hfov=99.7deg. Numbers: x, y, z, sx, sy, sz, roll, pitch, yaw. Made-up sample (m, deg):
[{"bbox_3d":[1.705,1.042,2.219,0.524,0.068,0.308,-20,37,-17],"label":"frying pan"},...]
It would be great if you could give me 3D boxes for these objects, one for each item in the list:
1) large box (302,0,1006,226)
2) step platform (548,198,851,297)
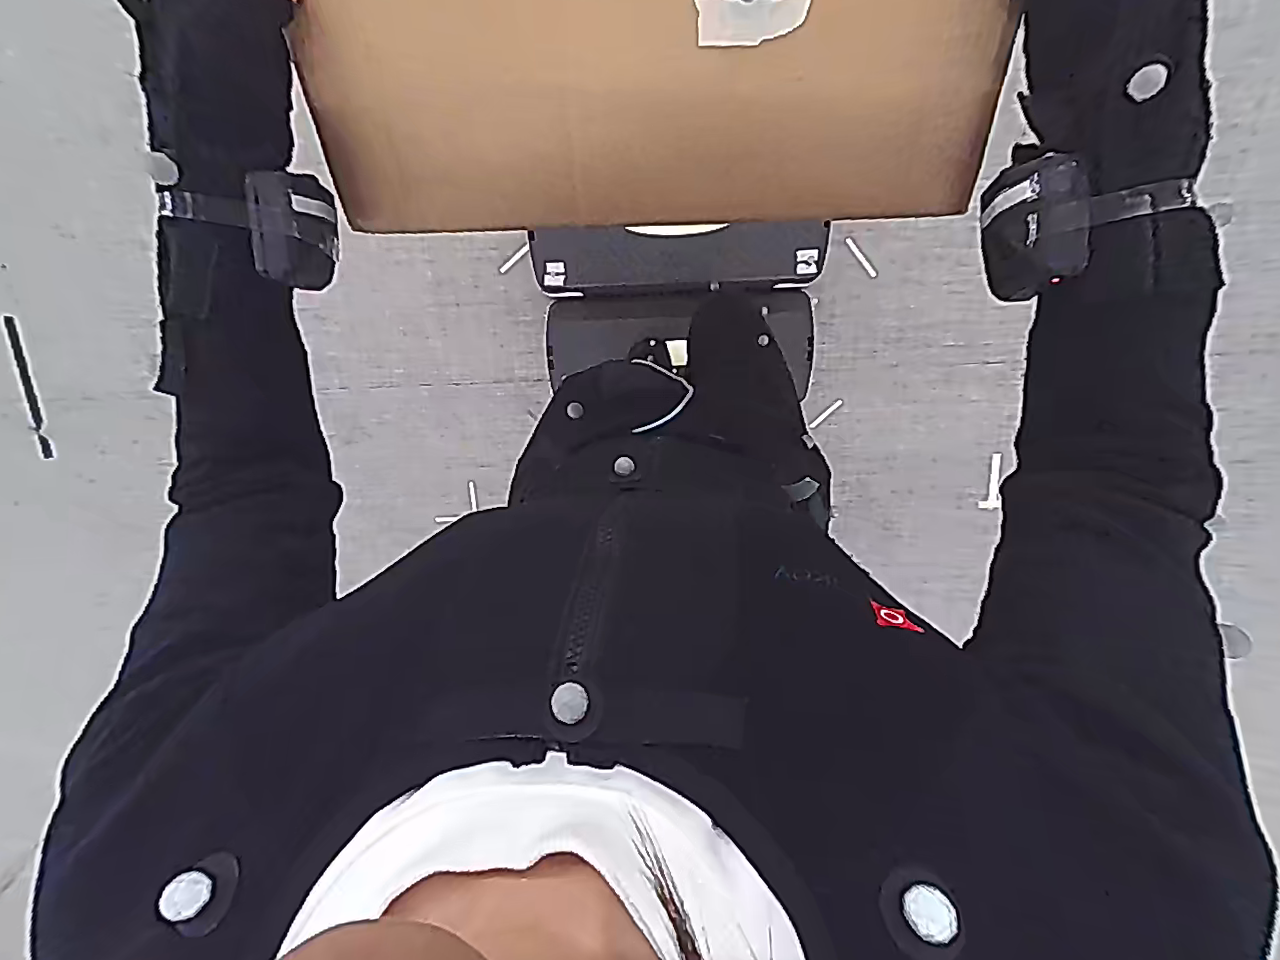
[{"bbox_3d":[0.011,-0.391,0.400,0.408,0.320,0.320,1,125,7],"label":"large box"},{"bbox_3d":[0.130,-0.600,1.268,0.684,0.204,0.286,-2,106,3],"label":"step platform"}]
